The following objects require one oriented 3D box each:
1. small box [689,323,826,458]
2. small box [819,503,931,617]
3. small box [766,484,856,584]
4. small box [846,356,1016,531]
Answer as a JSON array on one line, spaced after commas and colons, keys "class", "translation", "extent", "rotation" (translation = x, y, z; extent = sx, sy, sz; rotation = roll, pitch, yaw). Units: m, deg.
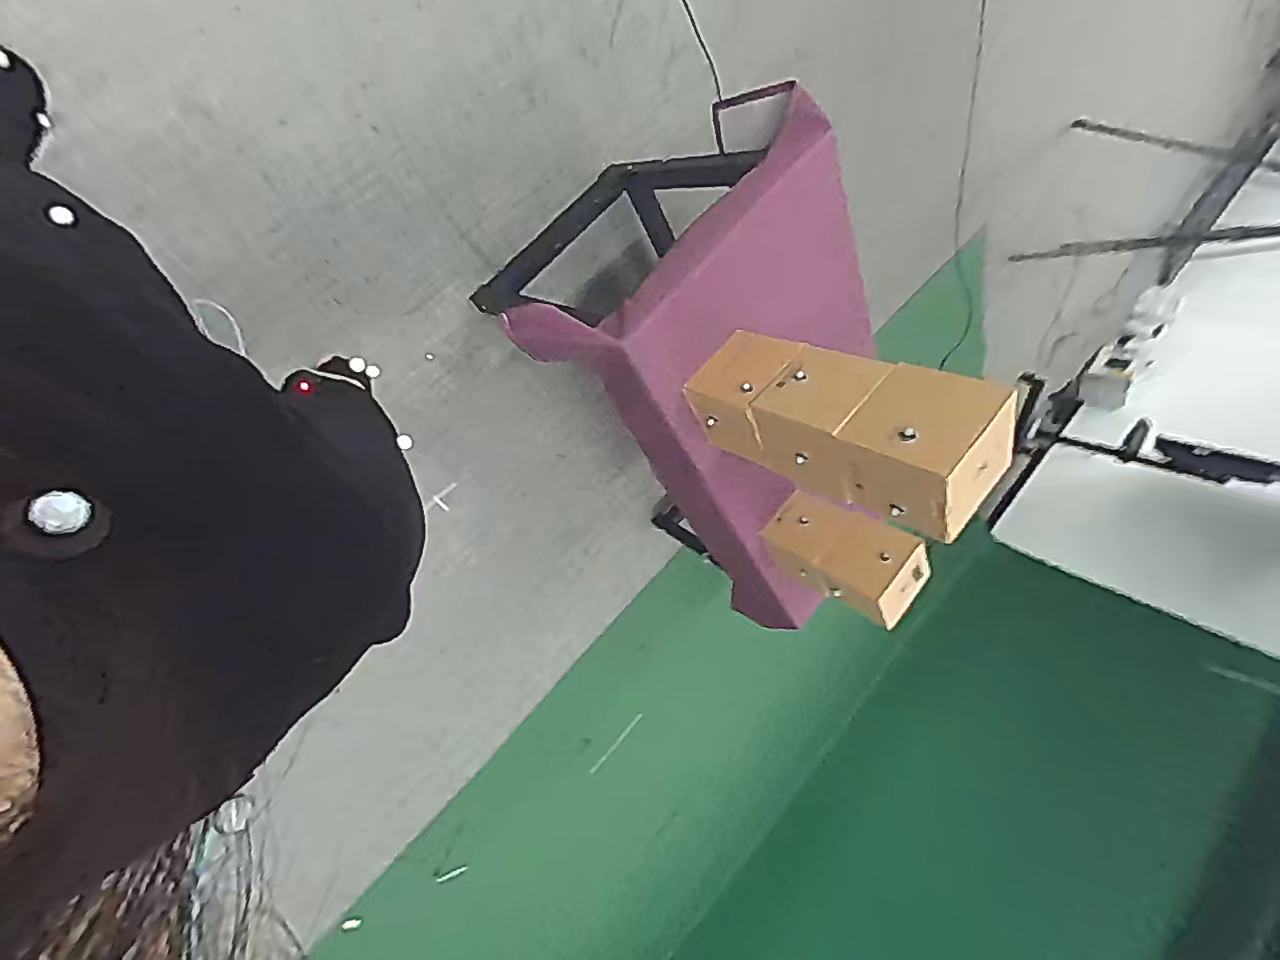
[{"class": "small box", "translation": [0.226, -0.179, 1.045], "extent": [0.179, 0.176, 0.168], "rotation": [-47, 134, -11]}, {"class": "small box", "translation": [0.557, 0.184, 1.285], "extent": [0.179, 0.176, 0.168], "rotation": [-49, 134, -10]}, {"class": "small box", "translation": [0.452, 0.131, 1.400], "extent": [0.168, 0.176, 0.179], "rotation": [-47, 134, -12]}, {"class": "small box", "translation": [0.431, -0.061, 0.819], "extent": [0.179, 0.176, 0.168], "rotation": [-47, 135, -13]}]
